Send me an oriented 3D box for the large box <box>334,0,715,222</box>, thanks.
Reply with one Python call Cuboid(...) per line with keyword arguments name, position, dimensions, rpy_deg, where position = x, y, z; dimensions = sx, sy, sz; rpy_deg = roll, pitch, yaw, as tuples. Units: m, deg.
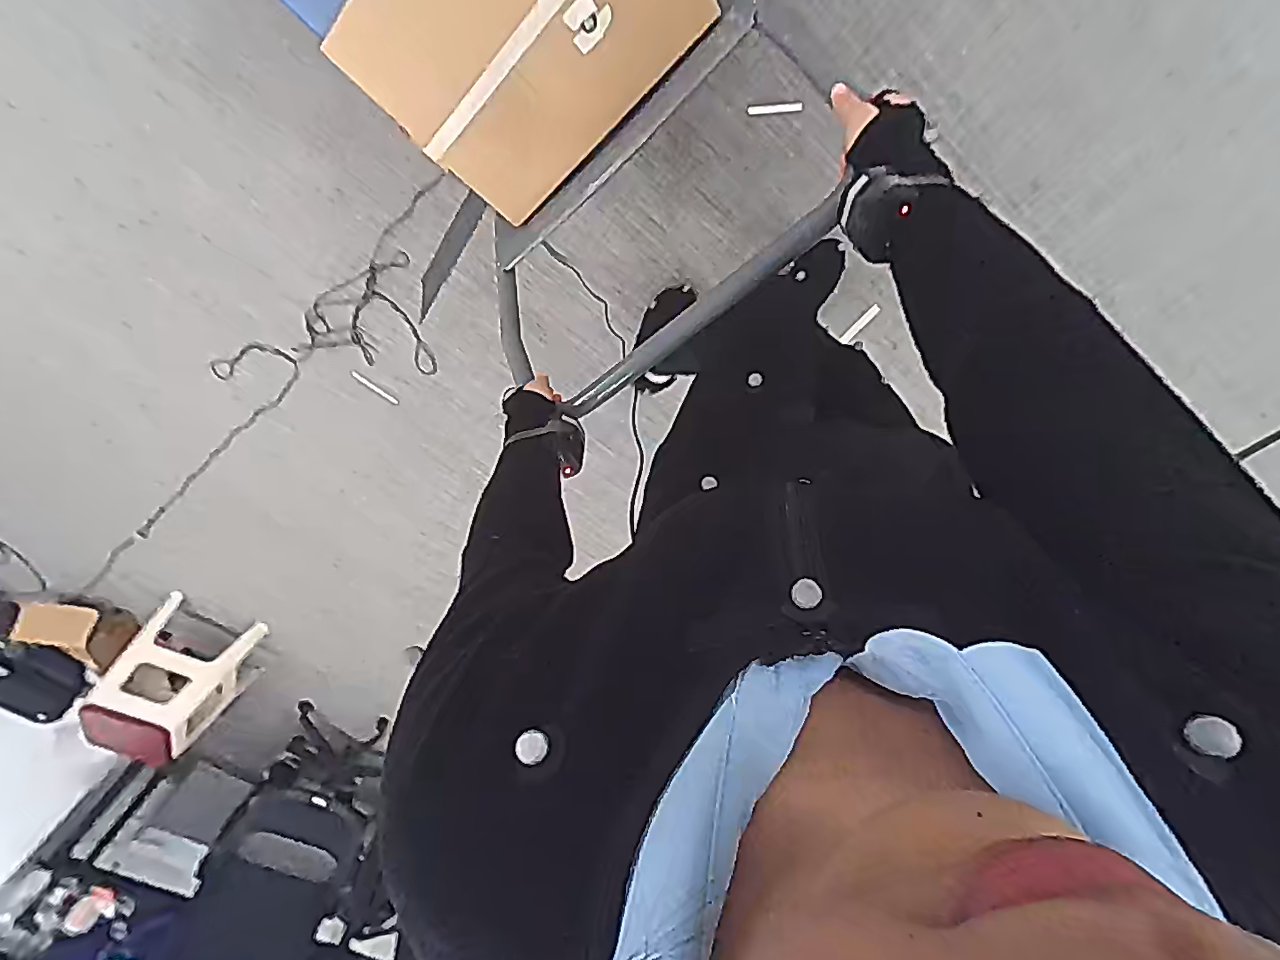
Cuboid(name="large box", position=(-0.167, -0.686, 0.782), dimensions=(0.408, 0.320, 0.320), rpy_deg=(-35, 136, 26))
